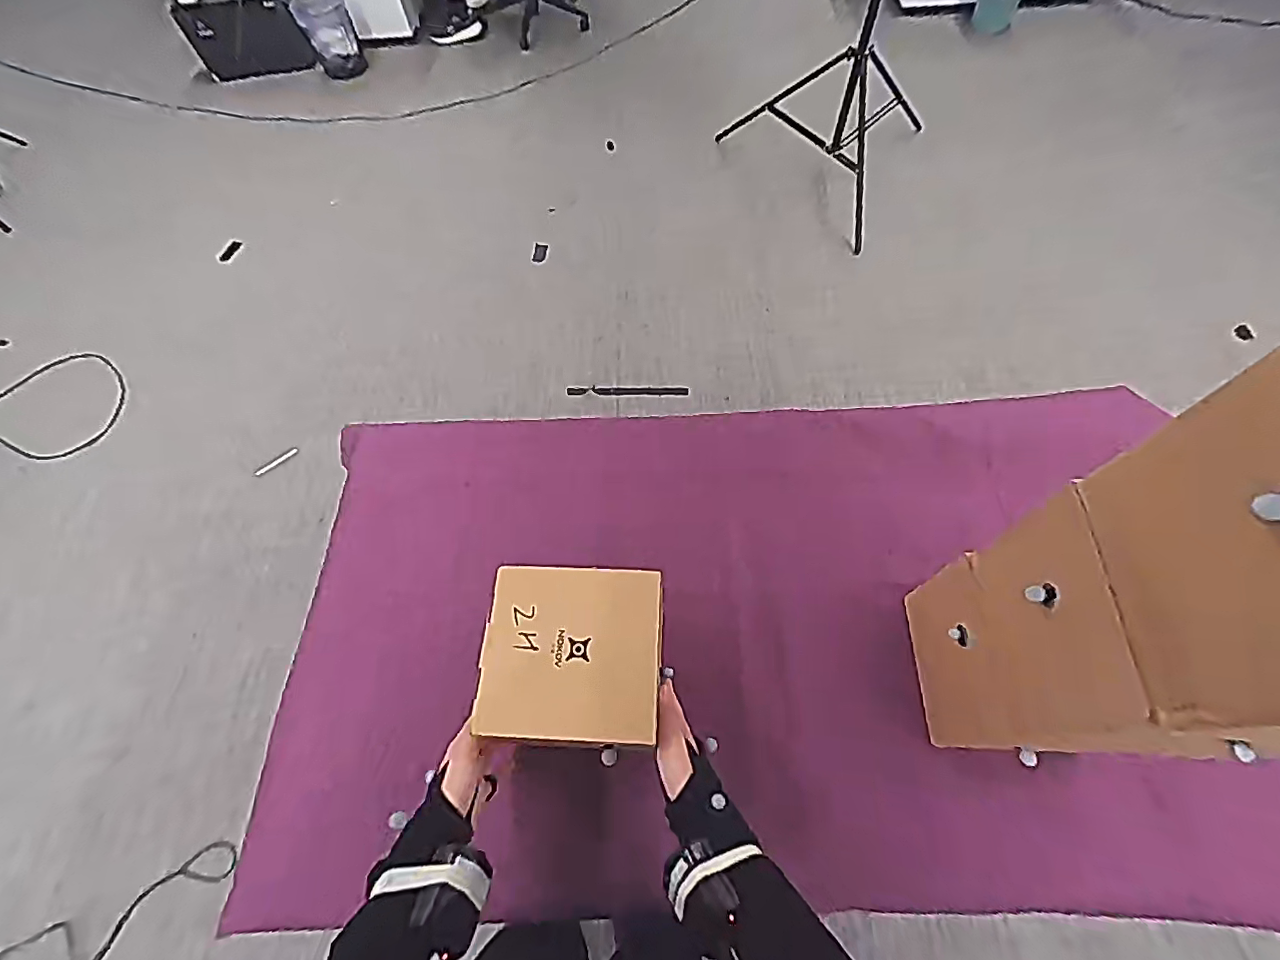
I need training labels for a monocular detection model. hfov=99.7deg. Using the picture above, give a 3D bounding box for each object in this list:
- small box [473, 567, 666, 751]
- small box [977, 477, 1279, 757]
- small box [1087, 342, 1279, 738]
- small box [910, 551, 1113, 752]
[{"bbox_3d":[-0.061,0.205,0.601,0.179,0.176,0.168,1,61,4],"label":"small box"},{"bbox_3d":[0.407,0.116,0.436,0.168,0.176,0.179,2,61,5],"label":"small box"},{"bbox_3d":[0.400,0.044,0.290,0.168,0.176,0.179,2,61,5],"label":"small box"},{"bbox_3d":[0.415,0.190,0.583,0.168,0.176,0.179,0,62,4],"label":"small box"}]
